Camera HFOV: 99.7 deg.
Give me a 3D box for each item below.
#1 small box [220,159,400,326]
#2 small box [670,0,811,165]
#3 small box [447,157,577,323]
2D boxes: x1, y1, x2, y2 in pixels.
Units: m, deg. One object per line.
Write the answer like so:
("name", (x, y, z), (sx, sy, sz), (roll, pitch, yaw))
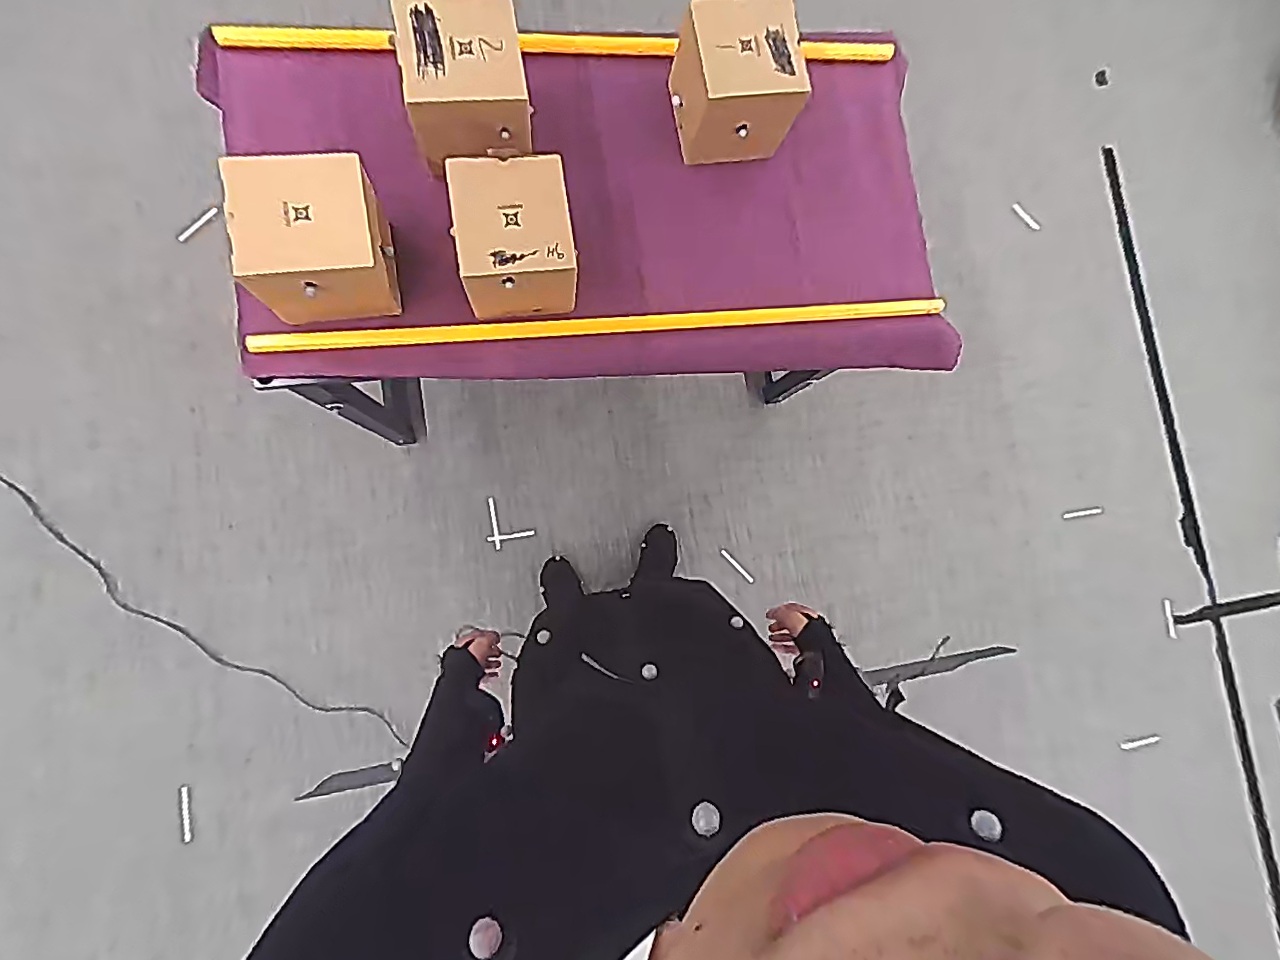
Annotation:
("small box", (-0.469, -0.341, 0.798), (0.179, 0.176, 0.168), (-8, 86, -10))
("small box", (0.163, -0.670, 0.923), (0.179, 0.176, 0.168), (-10, 88, -8))
("small box", (-0.194, -0.365, 0.843), (0.168, 0.176, 0.179), (-8, 86, -9))
